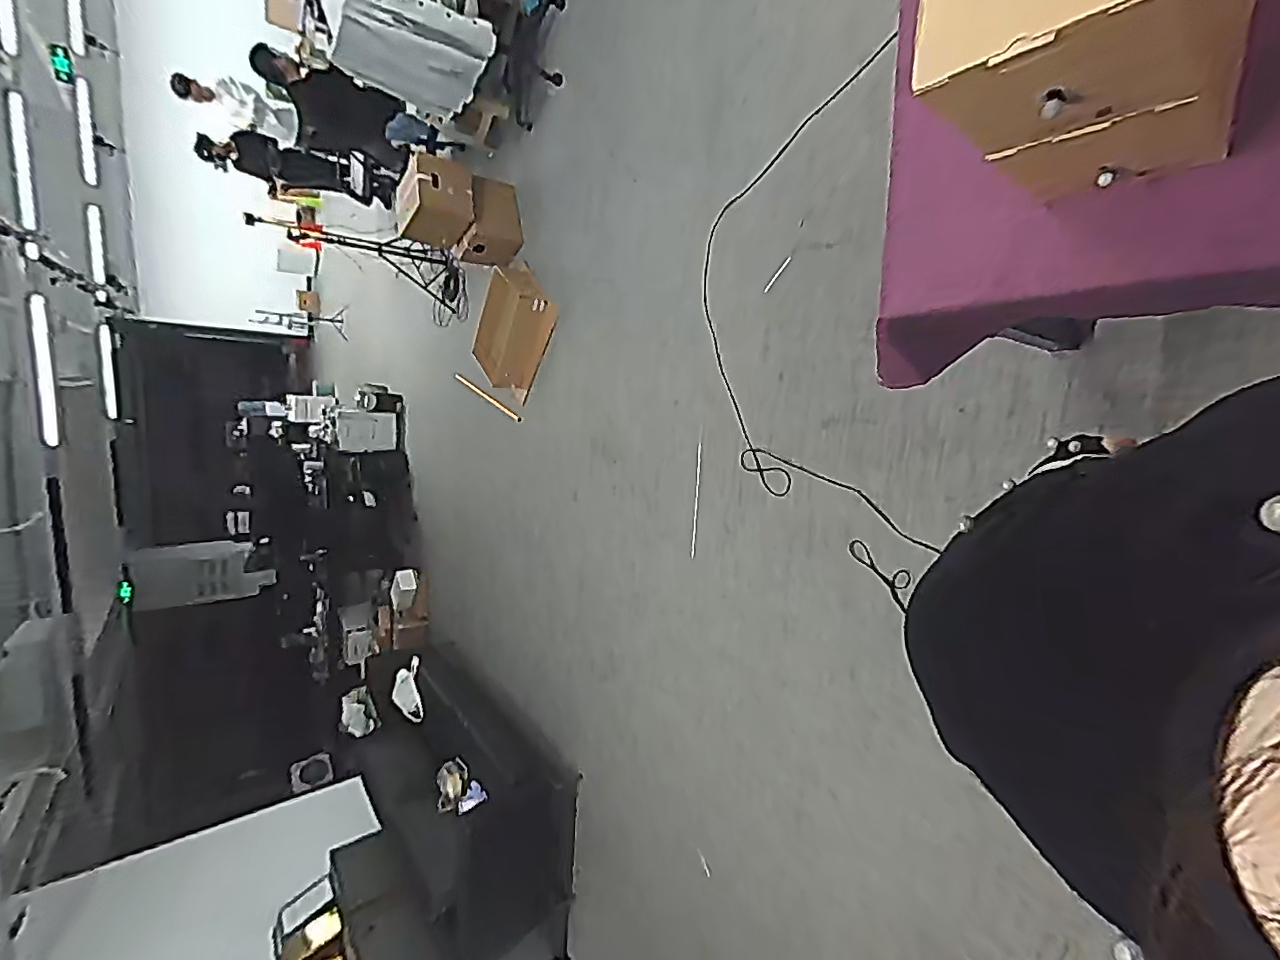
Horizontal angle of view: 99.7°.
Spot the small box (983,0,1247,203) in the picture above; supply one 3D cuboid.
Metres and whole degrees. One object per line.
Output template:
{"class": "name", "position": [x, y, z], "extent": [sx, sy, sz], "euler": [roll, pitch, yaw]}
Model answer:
{"class": "small box", "position": [0.487, -0.417, 0.557], "extent": [0.168, 0.176, 0.179], "euler": [12, 101, 52]}

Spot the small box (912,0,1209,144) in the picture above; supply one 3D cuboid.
{"class": "small box", "position": [0.357, -0.414, 0.455], "extent": [0.168, 0.176, 0.179], "euler": [11, 101, 50]}
